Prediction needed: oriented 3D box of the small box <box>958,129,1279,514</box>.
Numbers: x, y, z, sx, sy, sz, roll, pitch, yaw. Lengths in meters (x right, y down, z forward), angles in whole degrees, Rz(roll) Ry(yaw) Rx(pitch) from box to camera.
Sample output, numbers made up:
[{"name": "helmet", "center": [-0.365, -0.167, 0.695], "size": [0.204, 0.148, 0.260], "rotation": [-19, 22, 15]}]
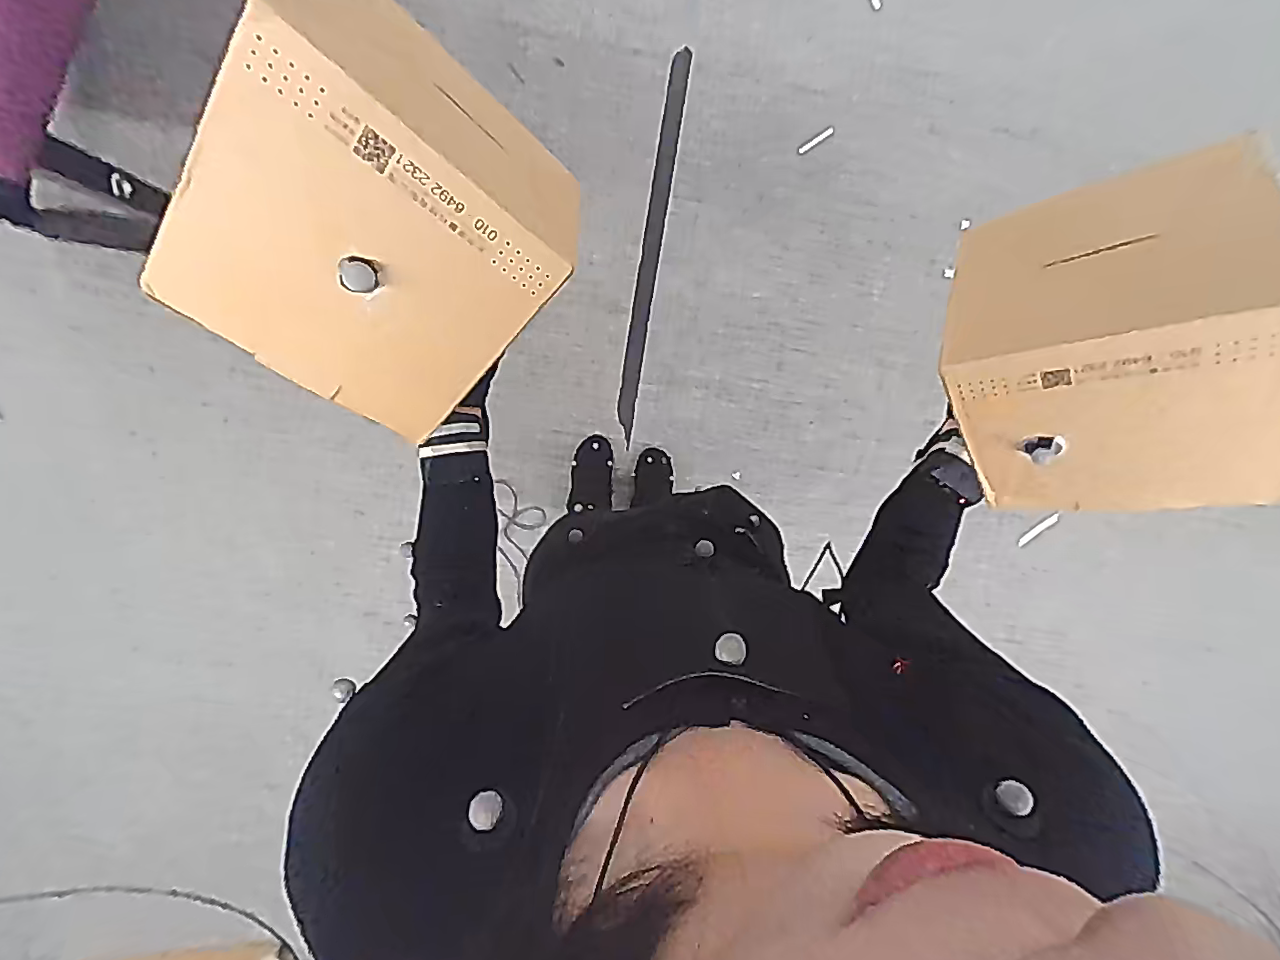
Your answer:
[{"name": "small box", "center": [0.338, -0.095, 0.378], "size": [0.176, 0.168, 0.179], "rotation": [49, 54, -34]}]
